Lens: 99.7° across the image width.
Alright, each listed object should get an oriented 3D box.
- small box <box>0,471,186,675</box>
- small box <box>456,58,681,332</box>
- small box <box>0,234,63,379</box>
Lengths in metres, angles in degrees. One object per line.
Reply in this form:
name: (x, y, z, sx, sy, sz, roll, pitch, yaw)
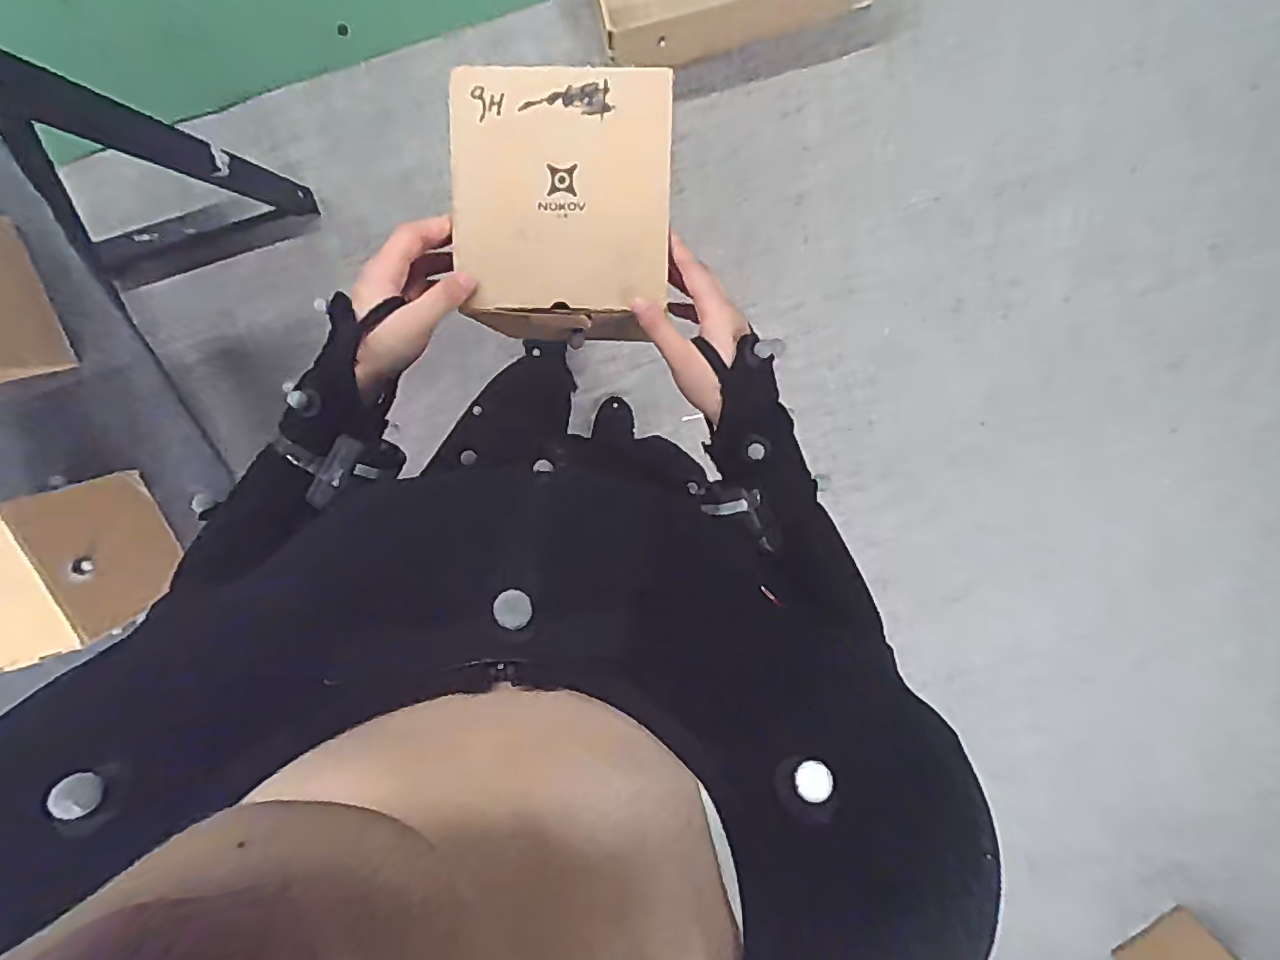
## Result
small box: (-0.712, 0.108, 0.648, 0.168, 0.176, 0.179, -16, 105, 3)
small box: (-0.053, -0.229, 0.480, 0.168, 0.176, 0.179, 1, 99, -1)
small box: (-0.789, -0.185, 0.561, 0.168, 0.176, 0.179, -11, 106, 3)
